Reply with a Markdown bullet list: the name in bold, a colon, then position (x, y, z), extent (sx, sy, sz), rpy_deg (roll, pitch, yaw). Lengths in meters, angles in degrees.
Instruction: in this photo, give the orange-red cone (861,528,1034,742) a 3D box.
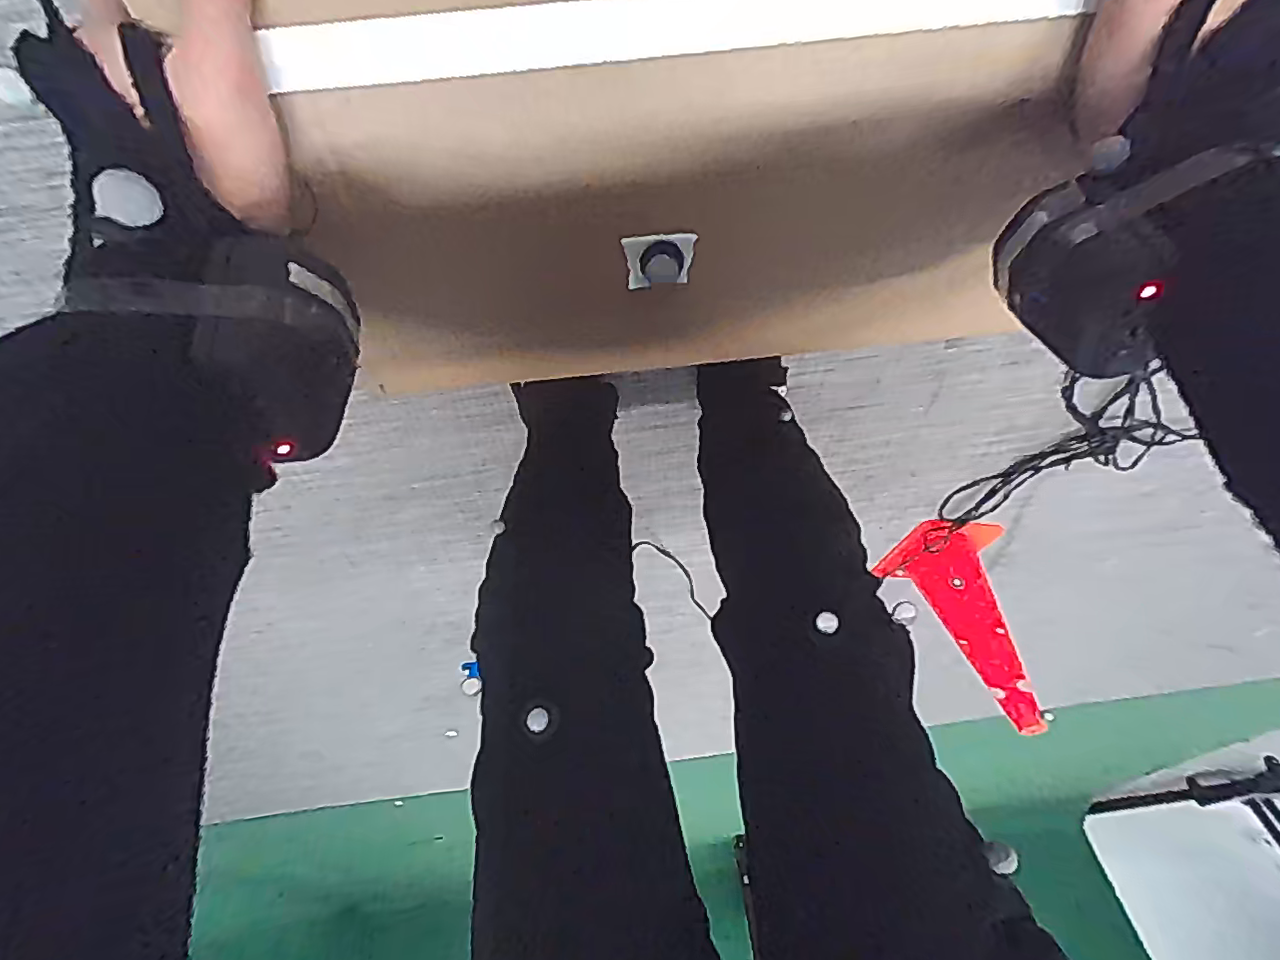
- **orange-red cone**: position (0.601, 0.288, 0.993), extent (0.199, 0.360, 0.198), rpy_deg (5, 137, -17)
